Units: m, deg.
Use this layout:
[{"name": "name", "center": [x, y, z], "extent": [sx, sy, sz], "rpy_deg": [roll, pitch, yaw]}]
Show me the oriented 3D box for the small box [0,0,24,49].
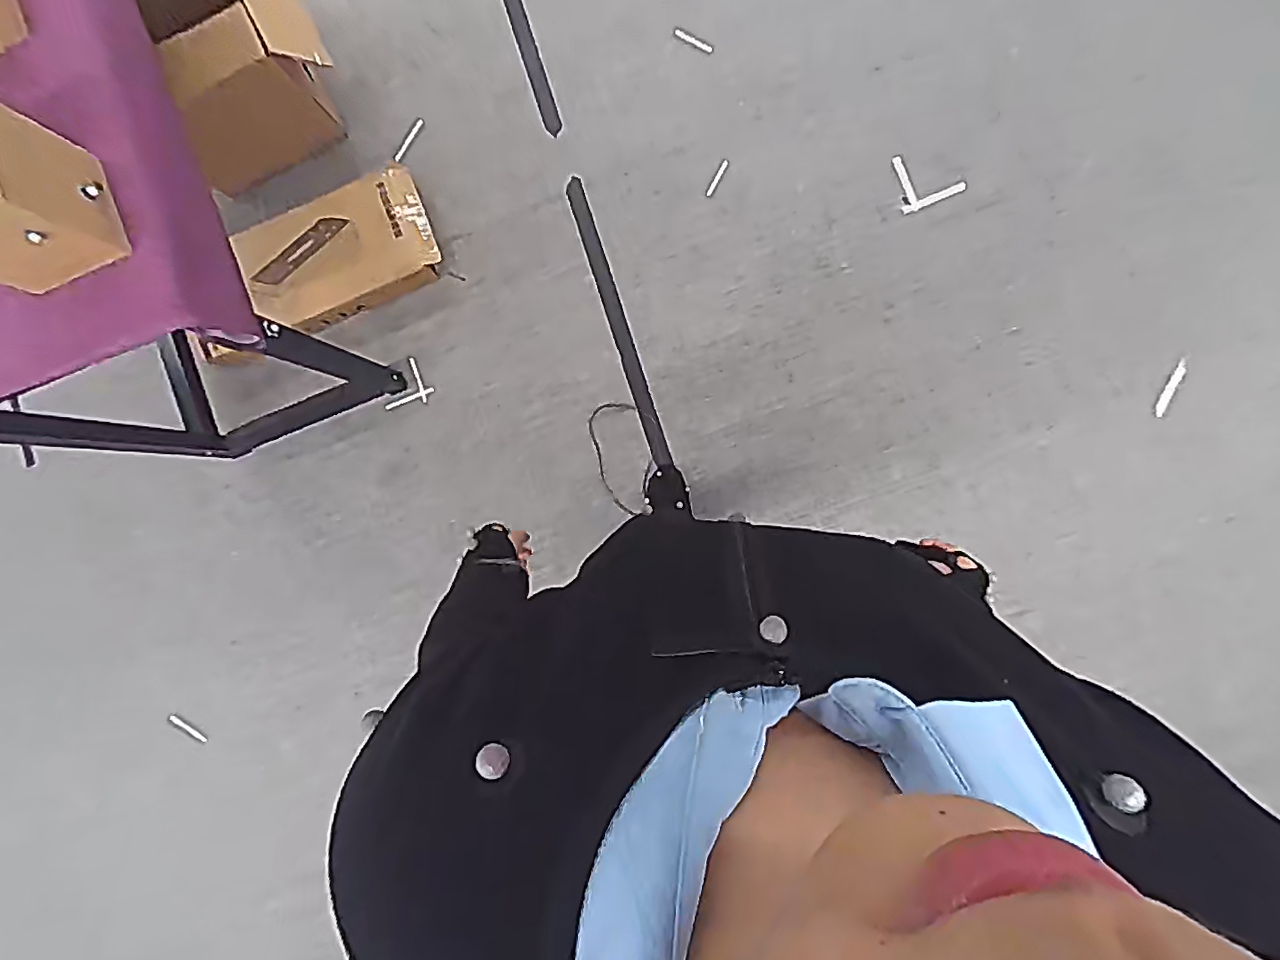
[{"name": "small box", "center": [-1.079, -0.754, 0.784], "extent": [0.168, 0.176, 0.179], "rpy_deg": [-22, 88, 7]}]
